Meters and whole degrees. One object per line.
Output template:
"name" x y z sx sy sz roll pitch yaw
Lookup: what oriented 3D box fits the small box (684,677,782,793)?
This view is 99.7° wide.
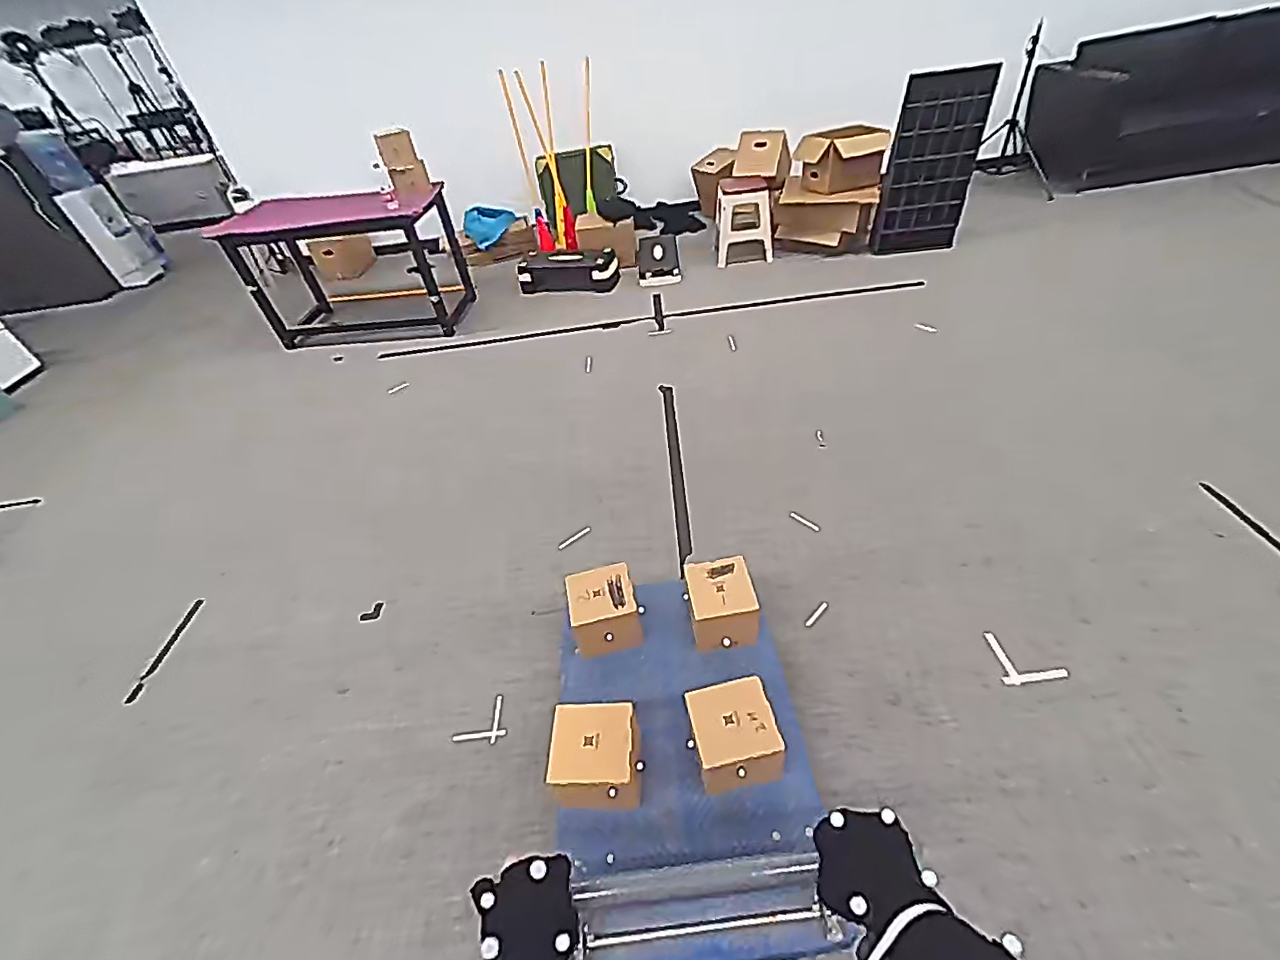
"small box" 0.208 0.575 1.214 0.179 0.176 0.168 -13 42 -3

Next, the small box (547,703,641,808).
"small box" -0.096 0.623 1.219 0.179 0.176 0.168 -4 42 4

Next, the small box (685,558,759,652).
"small box" 0.217 0.340 1.467 0.168 0.176 0.179 -10 43 0
